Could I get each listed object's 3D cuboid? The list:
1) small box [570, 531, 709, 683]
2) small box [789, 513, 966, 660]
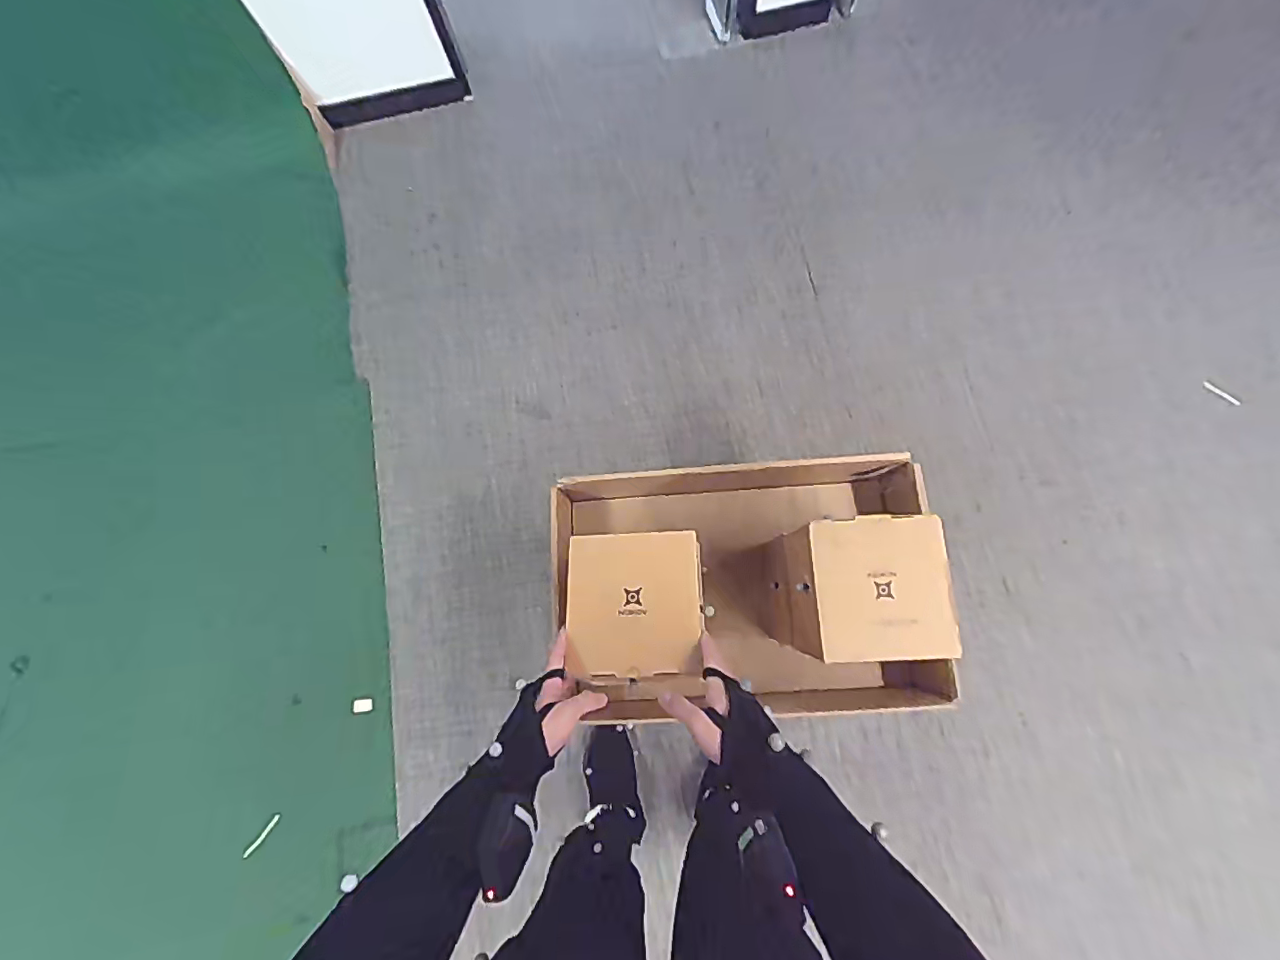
[{"bbox_3d":[0.005,0.179,0.736,0.168,0.176,0.179,-3,67,5],"label":"small box"},{"bbox_3d":[0.307,0.147,0.740,0.168,0.176,0.179,-3,77,4],"label":"small box"}]
